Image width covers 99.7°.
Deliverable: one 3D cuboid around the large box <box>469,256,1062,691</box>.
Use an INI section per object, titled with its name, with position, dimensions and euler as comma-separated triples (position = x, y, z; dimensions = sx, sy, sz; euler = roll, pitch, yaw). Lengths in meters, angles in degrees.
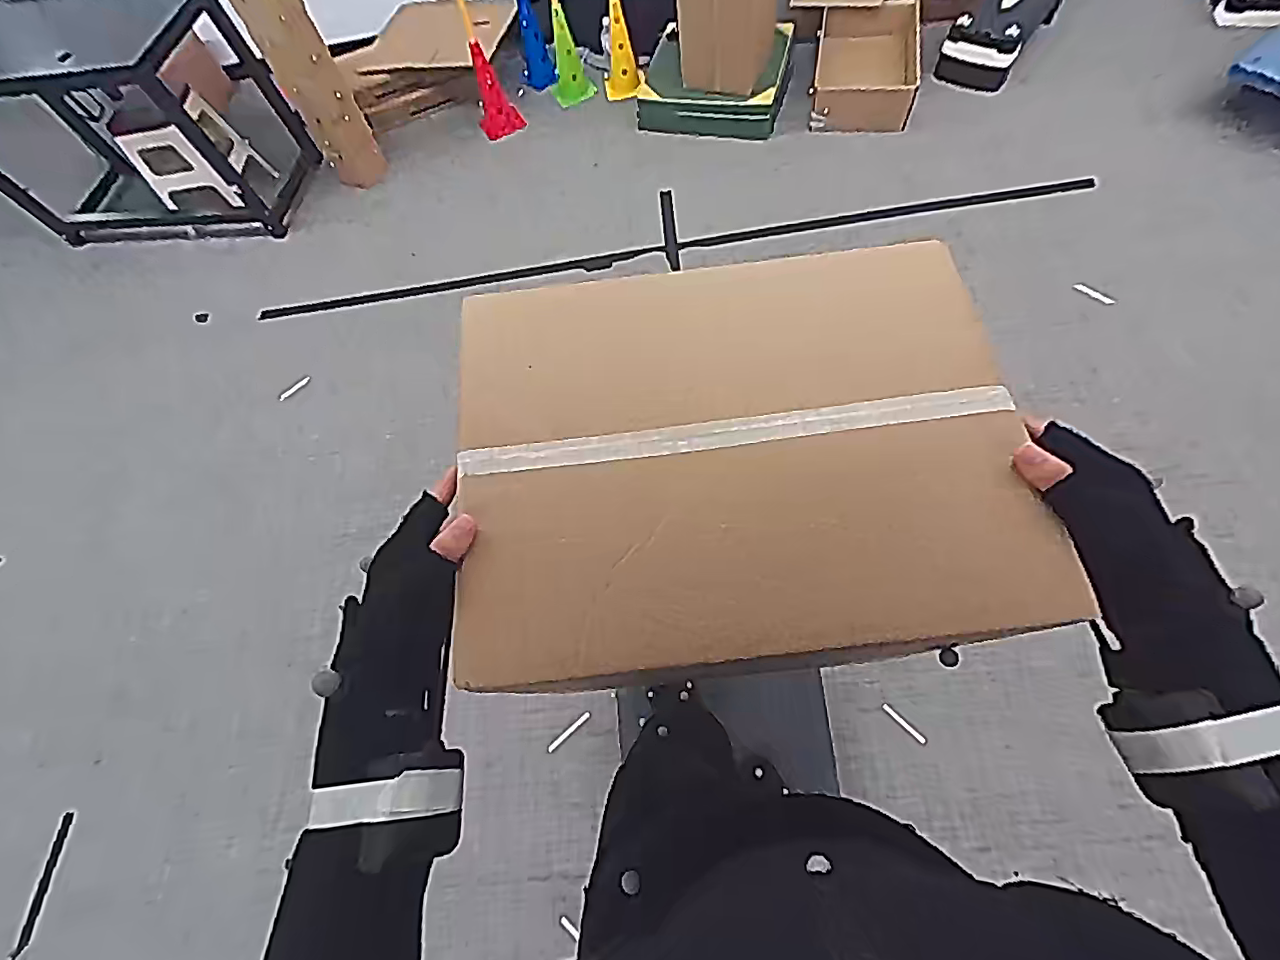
[large box]
position = 0.077, 0.027, 0.549
dimensions = 0.408, 0.320, 0.320
euler = -7, 67, 1
